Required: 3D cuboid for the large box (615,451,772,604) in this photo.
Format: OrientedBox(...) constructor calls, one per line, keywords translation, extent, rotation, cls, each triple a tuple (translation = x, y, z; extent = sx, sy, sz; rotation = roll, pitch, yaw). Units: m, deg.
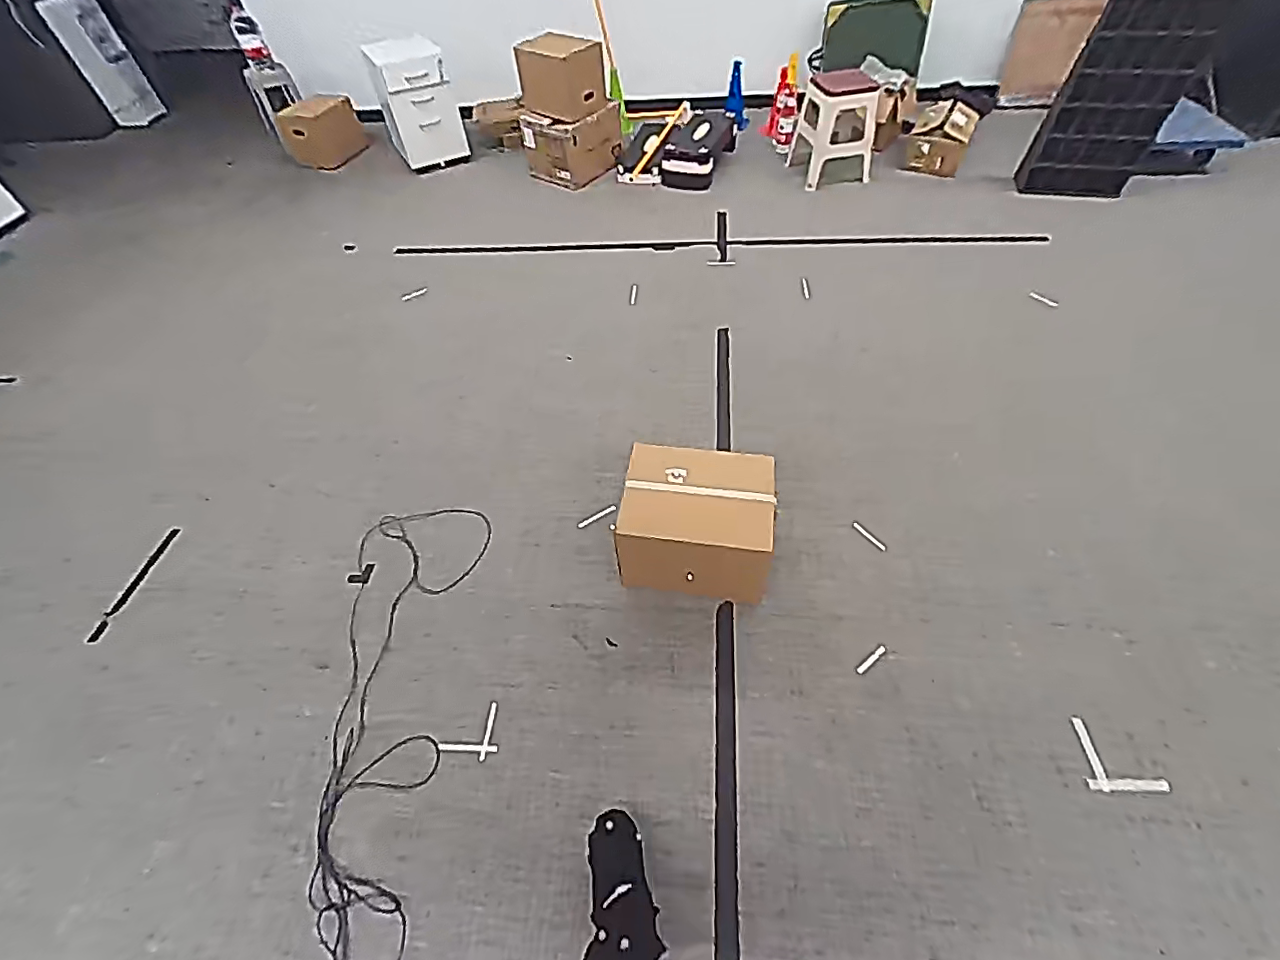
OrientedBox(translation=(0.164, 0.141, 1.573), extent=(0.408, 0.320, 0.320), rotation=(5, 52, 9), cls="large box")
